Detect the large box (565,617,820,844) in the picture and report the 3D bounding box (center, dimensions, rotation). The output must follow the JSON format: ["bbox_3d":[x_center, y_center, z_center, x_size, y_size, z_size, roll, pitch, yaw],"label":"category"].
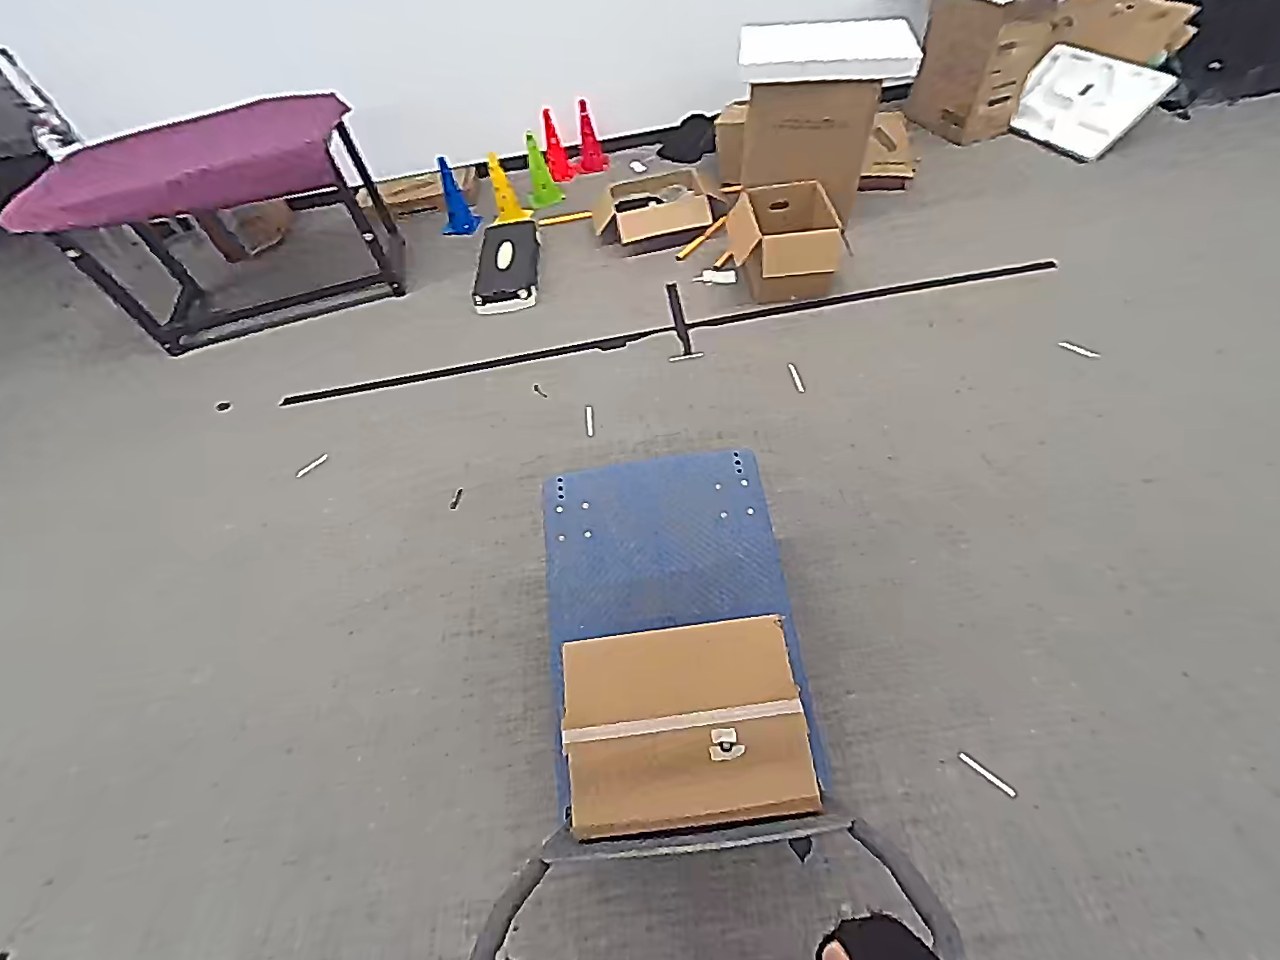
[{"bbox_3d":[0.087,0.485,1.075,0.408,0.320,0.320,-9,67,1],"label":"large box"}]
